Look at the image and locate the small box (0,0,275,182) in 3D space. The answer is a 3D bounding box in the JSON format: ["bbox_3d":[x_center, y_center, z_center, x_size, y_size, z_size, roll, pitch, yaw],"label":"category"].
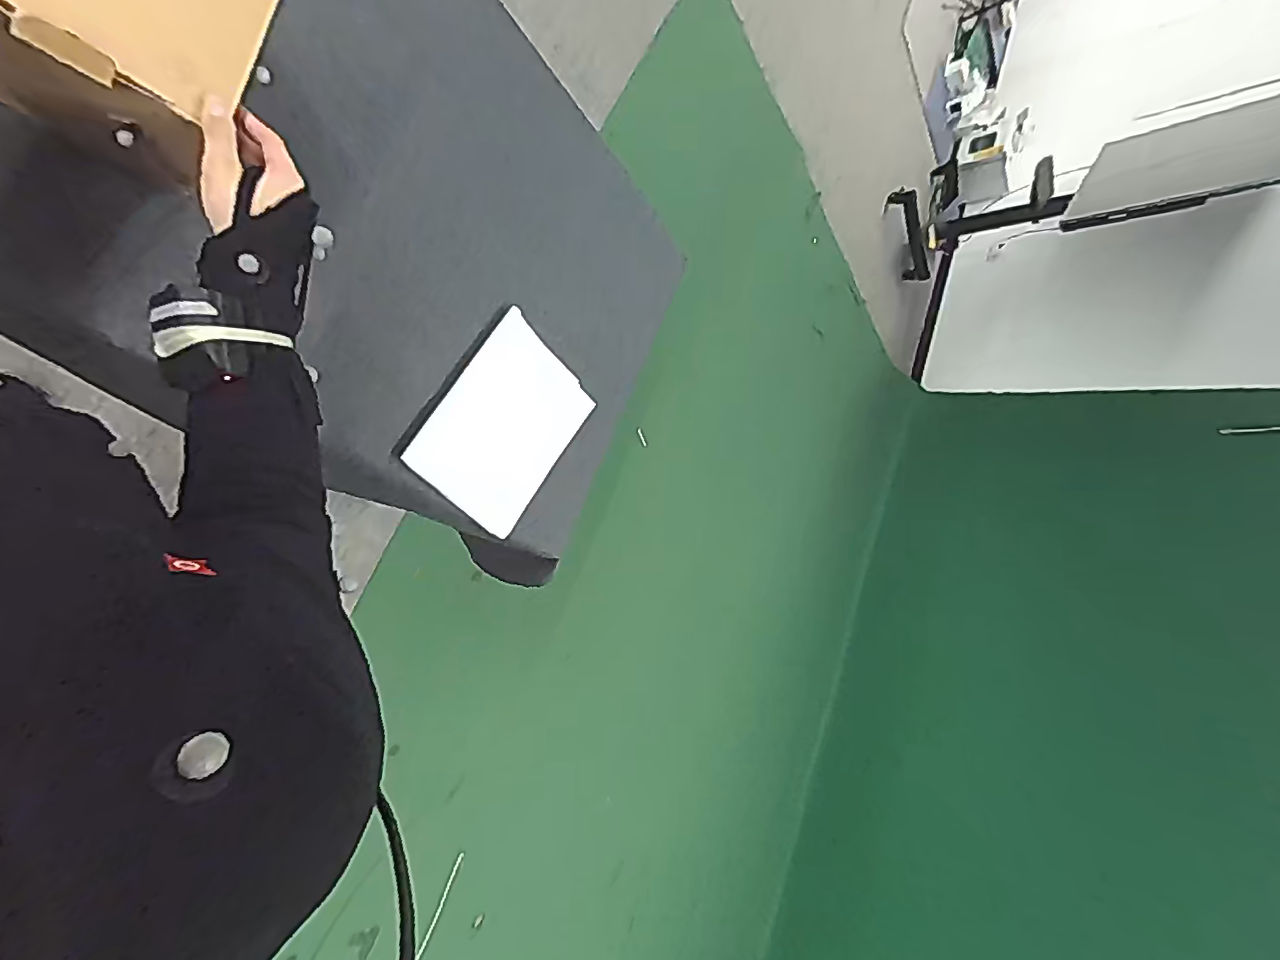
[{"bbox_3d":[-0.395,-0.361,0.399,0.168,0.176,0.179,22,78,-48],"label":"small box"}]
